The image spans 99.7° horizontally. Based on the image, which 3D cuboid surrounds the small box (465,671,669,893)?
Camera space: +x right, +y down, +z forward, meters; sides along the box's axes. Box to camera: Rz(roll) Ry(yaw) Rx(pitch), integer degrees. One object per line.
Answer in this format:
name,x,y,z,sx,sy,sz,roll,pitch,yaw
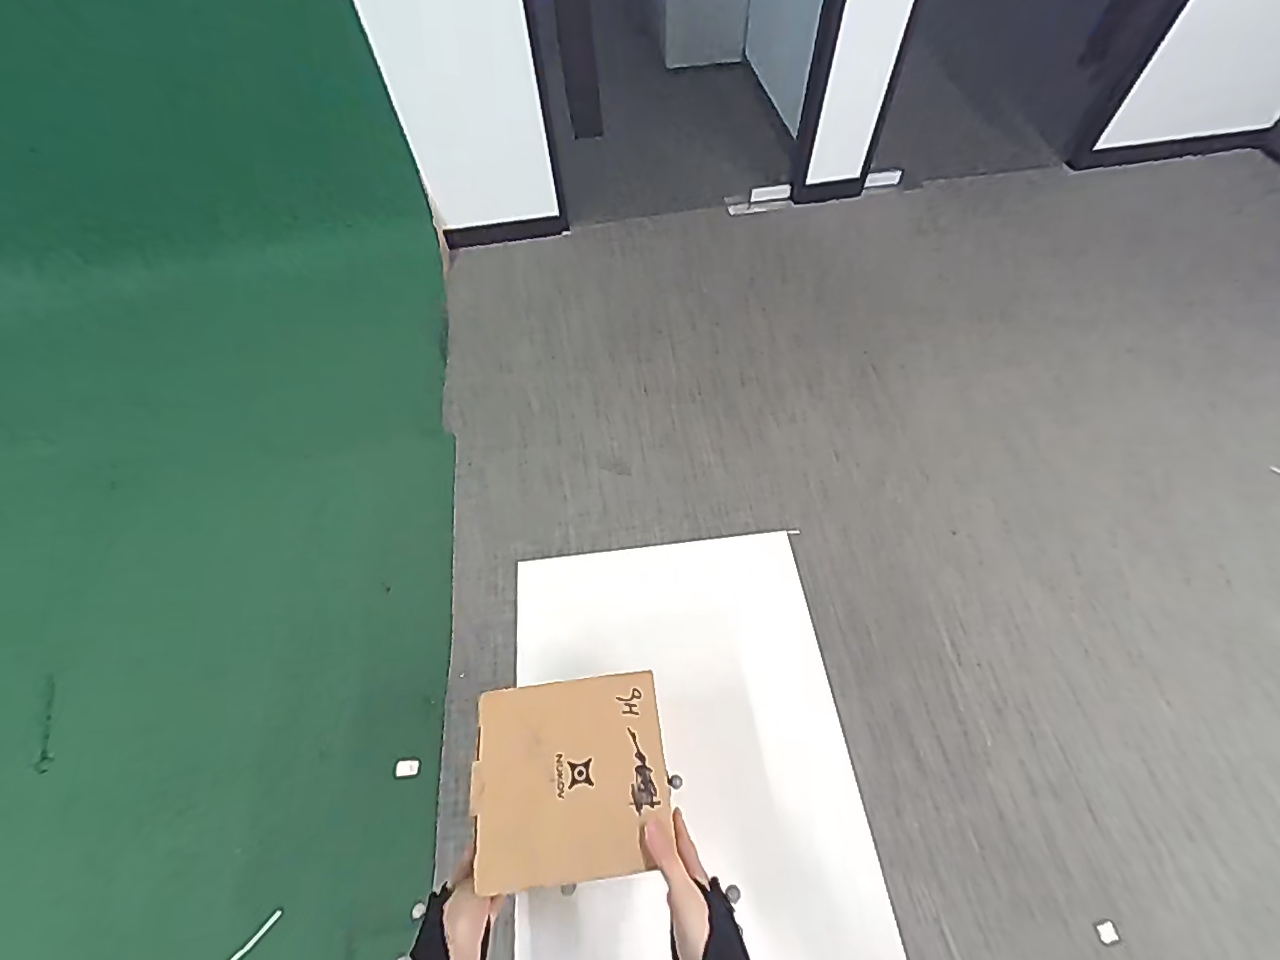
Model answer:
small box,-0.066,0.310,0.562,0.179,0.176,0.168,-7,59,-2
